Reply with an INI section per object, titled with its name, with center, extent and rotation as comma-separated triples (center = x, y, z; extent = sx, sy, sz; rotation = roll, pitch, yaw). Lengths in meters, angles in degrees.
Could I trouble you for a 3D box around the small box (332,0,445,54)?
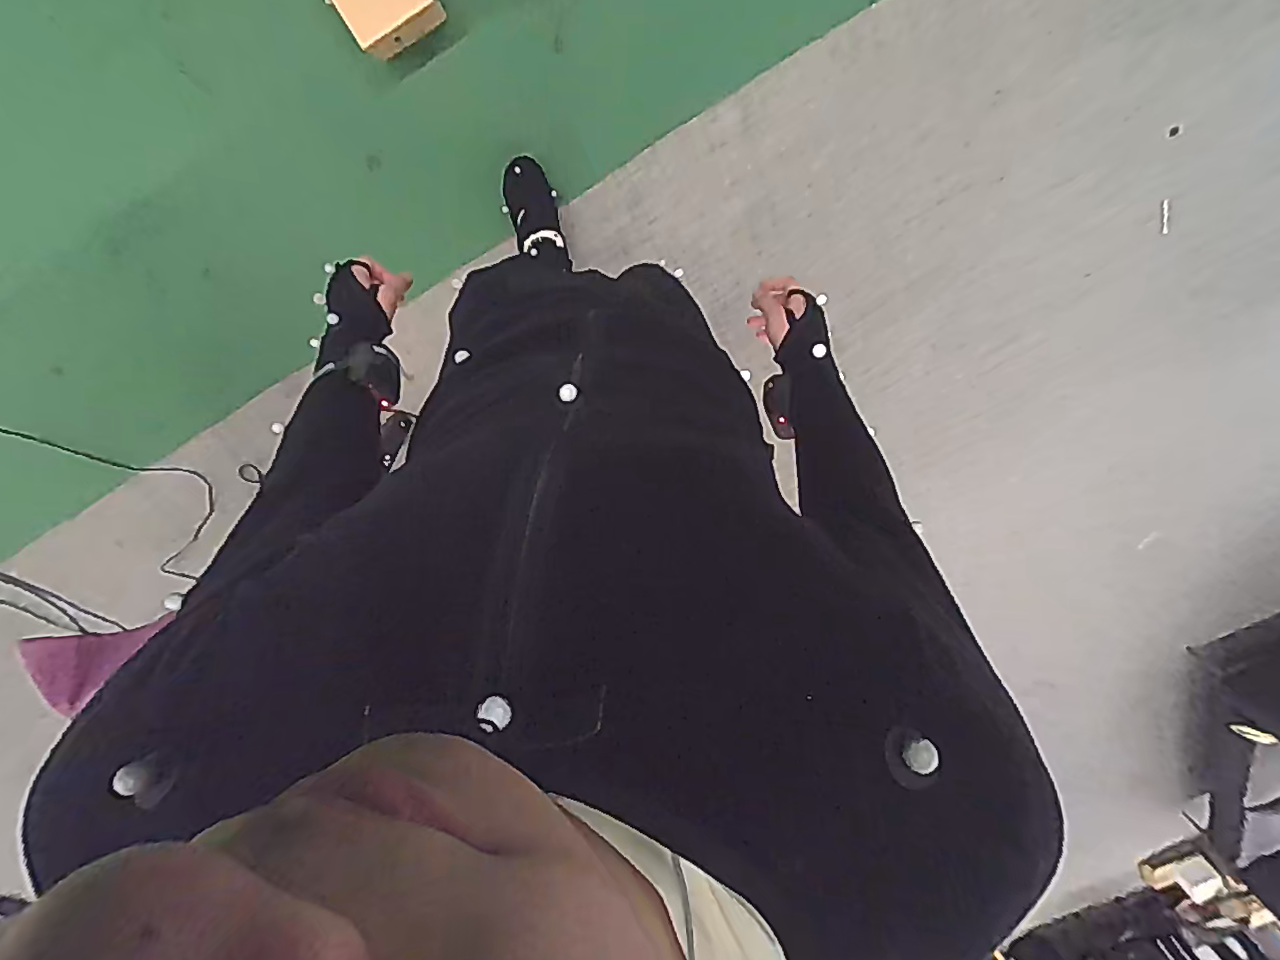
[small box]
center = -0.503, -0.958, 1.038
extent = 0.168, 0.176, 0.179
rotation = -28, 120, 8
